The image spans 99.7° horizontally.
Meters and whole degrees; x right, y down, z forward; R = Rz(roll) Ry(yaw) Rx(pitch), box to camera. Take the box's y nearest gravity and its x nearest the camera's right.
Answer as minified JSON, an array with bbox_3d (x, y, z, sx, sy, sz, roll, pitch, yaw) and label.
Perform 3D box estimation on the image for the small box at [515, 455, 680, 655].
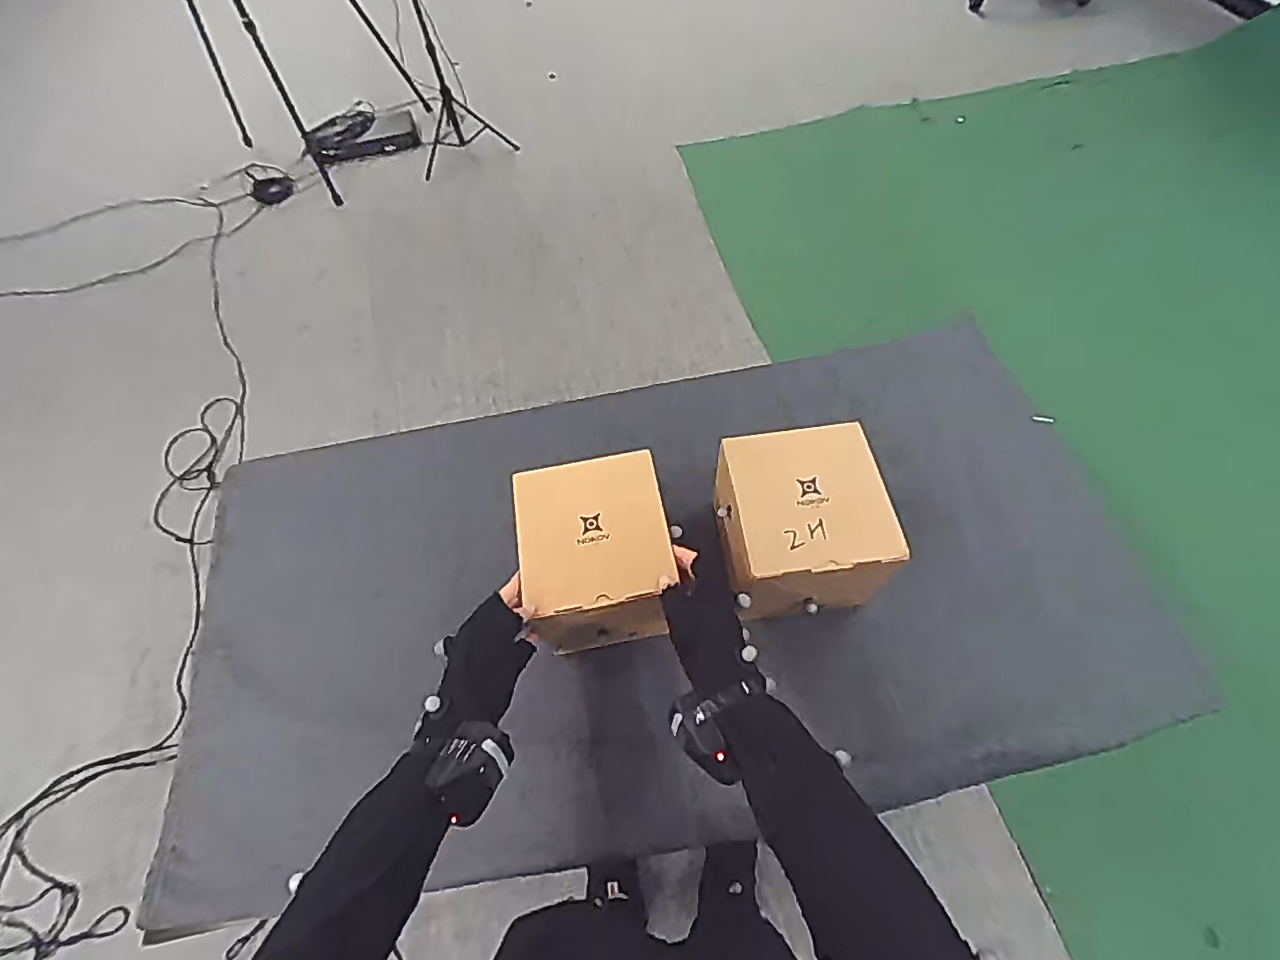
[{"bbox_3d":[-0.050,0.097,0.665,0.168,0.176,0.179,-11,60,-2],"label":"small box"}]

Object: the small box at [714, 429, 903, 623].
[{"bbox_3d":[0.188,0.062,0.669,0.168,0.176,0.179,-7,60,0],"label":"small box"}]
